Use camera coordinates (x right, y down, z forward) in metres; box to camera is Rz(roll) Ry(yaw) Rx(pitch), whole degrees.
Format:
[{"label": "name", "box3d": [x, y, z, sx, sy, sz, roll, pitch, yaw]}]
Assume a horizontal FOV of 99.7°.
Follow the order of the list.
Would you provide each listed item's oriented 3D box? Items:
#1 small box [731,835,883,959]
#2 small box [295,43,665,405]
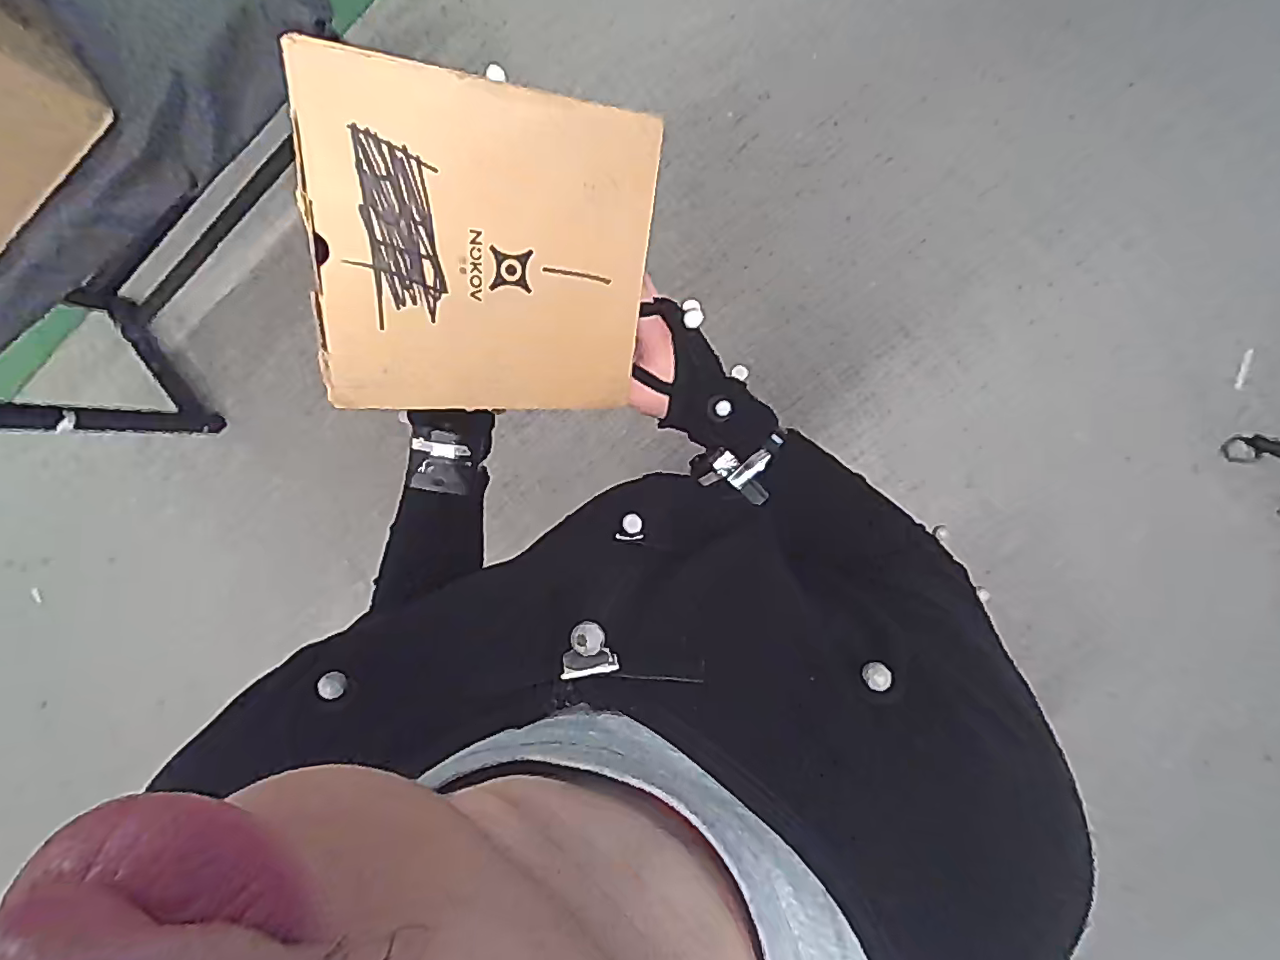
[{"label": "small box", "box3d": [0.261, 0.715, 0.866, 0.168, 0.176, 0.179, -40, 87, 11]}, {"label": "small box", "box3d": [-0.103, -0.154, 0.360, 0.179, 0.176, 0.168, -5, 118, -21]}]
